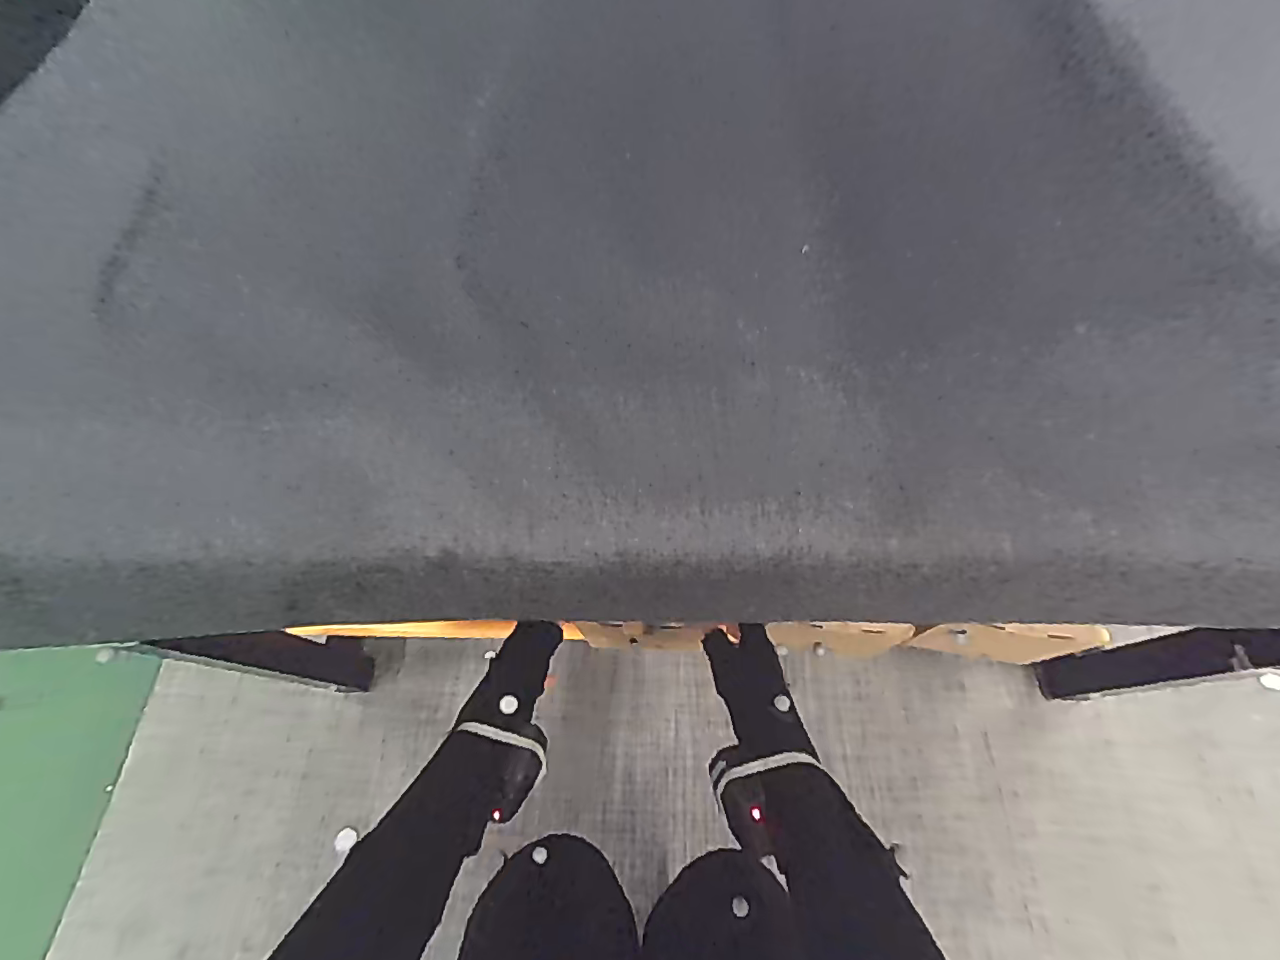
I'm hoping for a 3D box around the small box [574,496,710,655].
[{"bbox_3d":[0.008,0.138,0.755,0.168,0.176,0.179,2,64,4],"label":"small box"}]
